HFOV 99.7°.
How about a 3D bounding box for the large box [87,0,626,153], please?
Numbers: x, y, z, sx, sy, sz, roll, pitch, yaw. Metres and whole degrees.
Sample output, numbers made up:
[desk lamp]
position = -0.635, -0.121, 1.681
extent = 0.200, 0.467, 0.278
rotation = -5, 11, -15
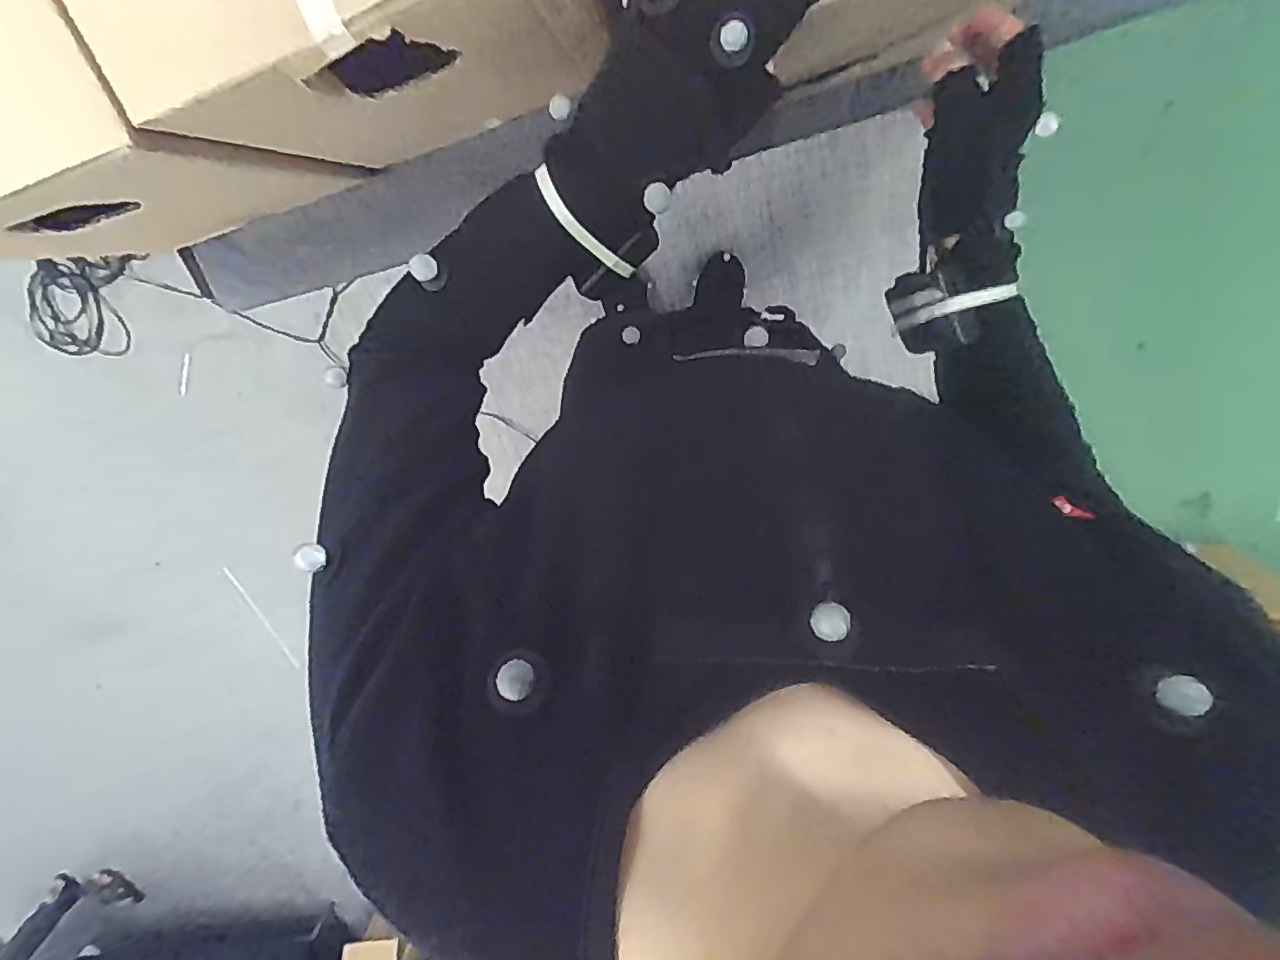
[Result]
[large box]
position = -0.225, -0.513, 0.380
extent = 0.320, 0.320, 0.408
rotation = -13, 114, 12
